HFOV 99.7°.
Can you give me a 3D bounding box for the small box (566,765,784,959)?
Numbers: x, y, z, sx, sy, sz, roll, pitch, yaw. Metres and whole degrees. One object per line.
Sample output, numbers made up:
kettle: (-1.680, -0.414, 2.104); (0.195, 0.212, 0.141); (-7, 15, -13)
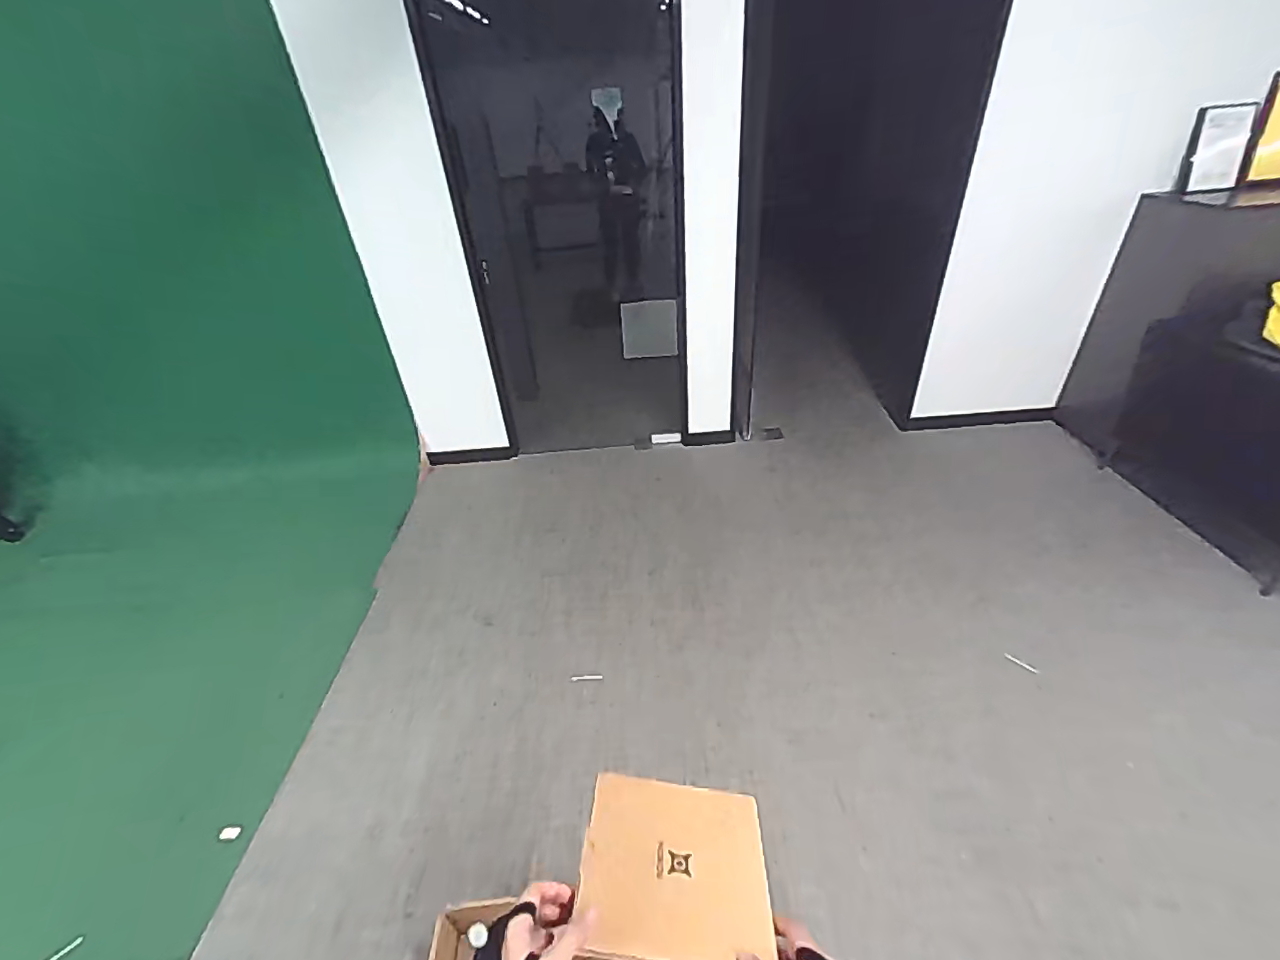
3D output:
small box: (0.025, 0.422, 0.533); (0.179, 0.176, 0.168); (9, 23, 1)
